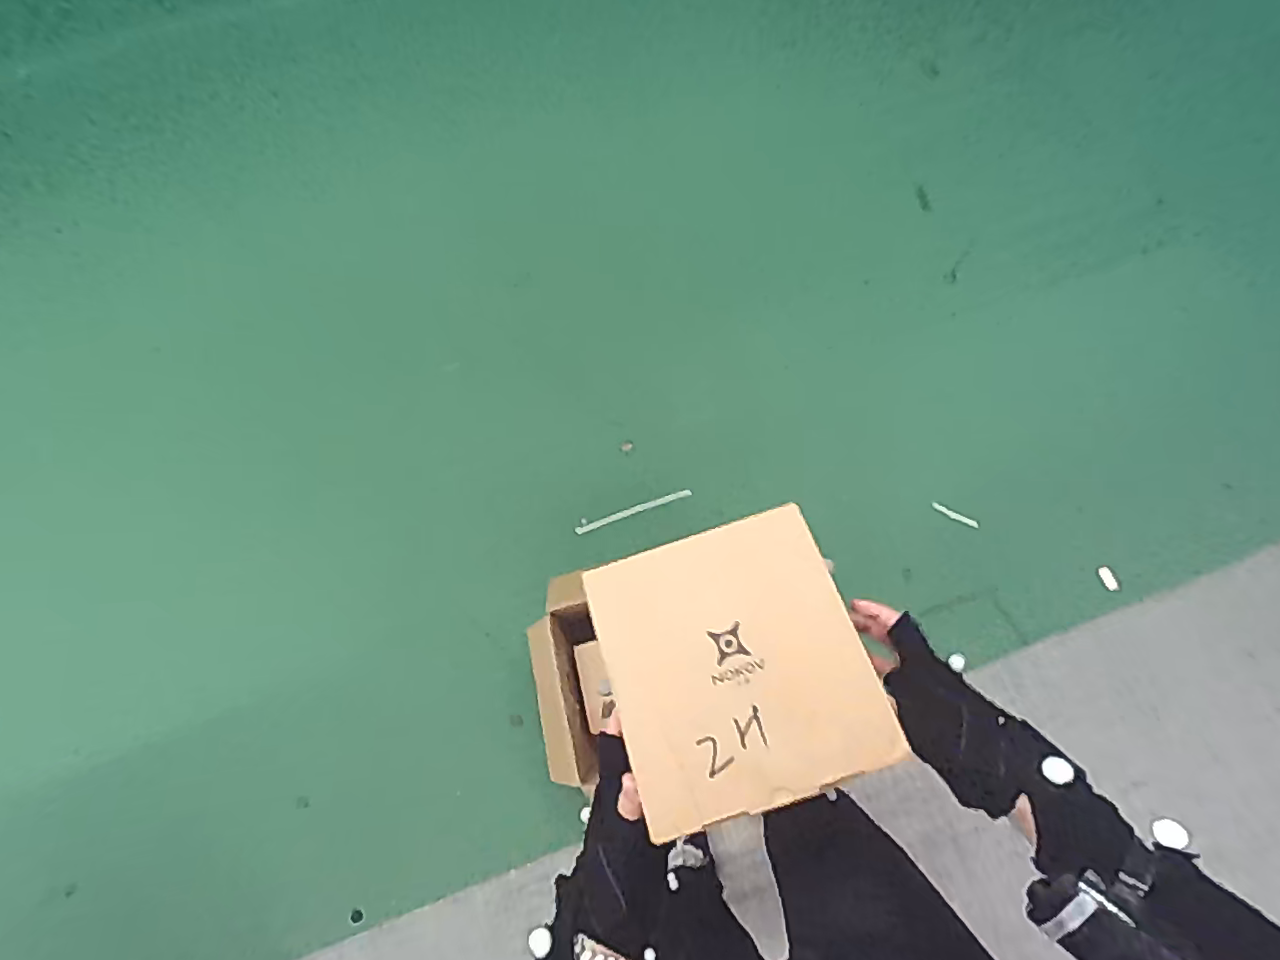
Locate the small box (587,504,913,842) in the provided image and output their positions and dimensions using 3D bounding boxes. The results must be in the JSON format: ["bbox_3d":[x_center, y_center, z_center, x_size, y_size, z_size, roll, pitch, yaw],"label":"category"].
[{"bbox_3d":[0.069,0.145,0.422,0.168,0.176,0.179,-17,67,-1],"label":"small box"}]
